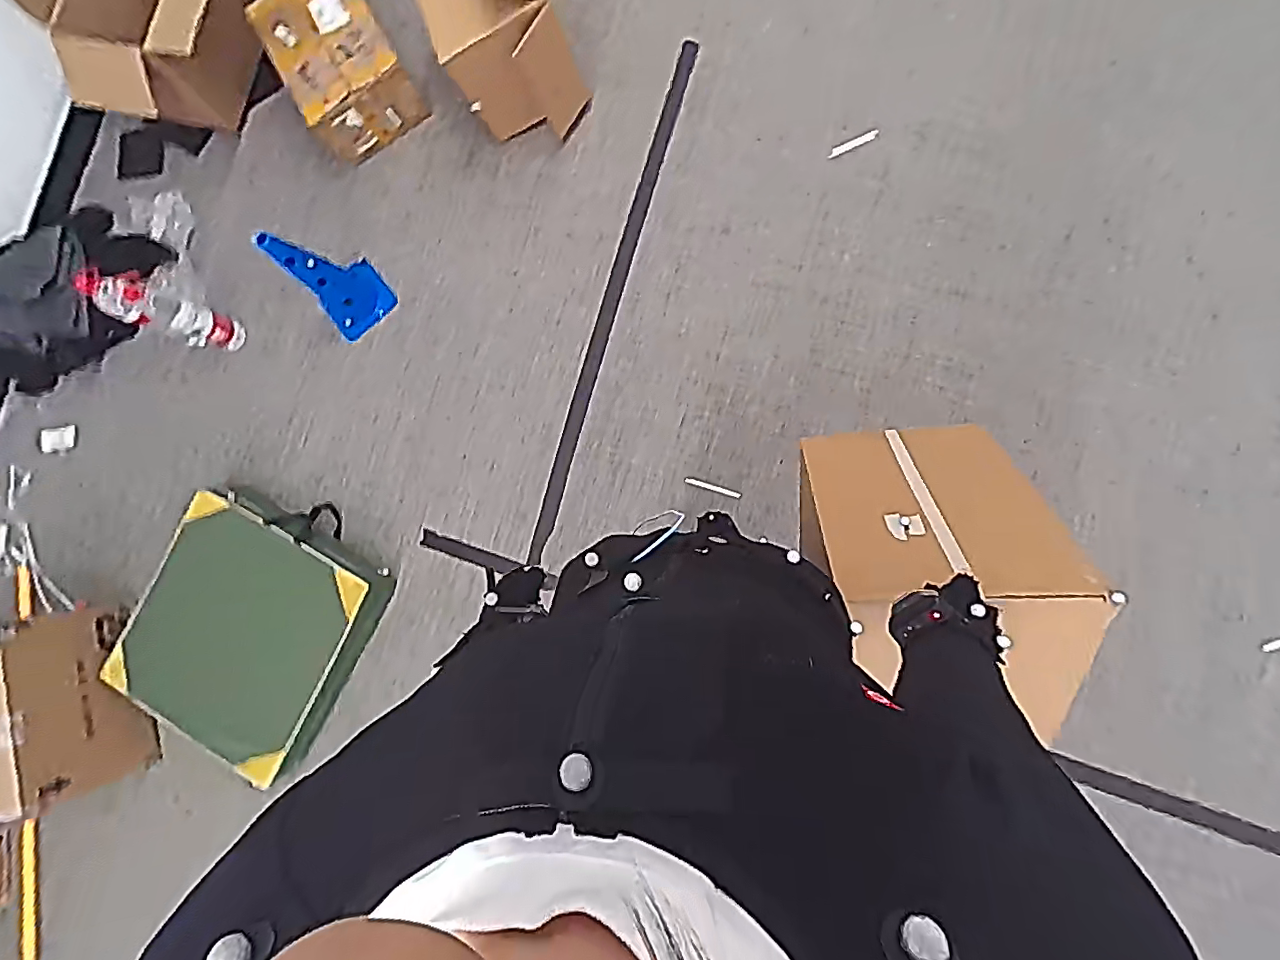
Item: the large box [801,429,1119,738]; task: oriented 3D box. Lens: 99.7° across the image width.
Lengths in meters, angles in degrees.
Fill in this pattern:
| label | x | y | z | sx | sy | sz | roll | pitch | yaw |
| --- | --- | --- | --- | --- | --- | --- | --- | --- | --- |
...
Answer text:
| label | x | y | z | sx | sy | sz | roll | pitch | yaw |
| --- | --- | --- | --- | --- | --- | --- | --- | --- | --- |
| large box | 0.454 | 0.154 | 0.899 | 0.320 | 0.408 | 0.320 | -4 | 126 | 11 |
